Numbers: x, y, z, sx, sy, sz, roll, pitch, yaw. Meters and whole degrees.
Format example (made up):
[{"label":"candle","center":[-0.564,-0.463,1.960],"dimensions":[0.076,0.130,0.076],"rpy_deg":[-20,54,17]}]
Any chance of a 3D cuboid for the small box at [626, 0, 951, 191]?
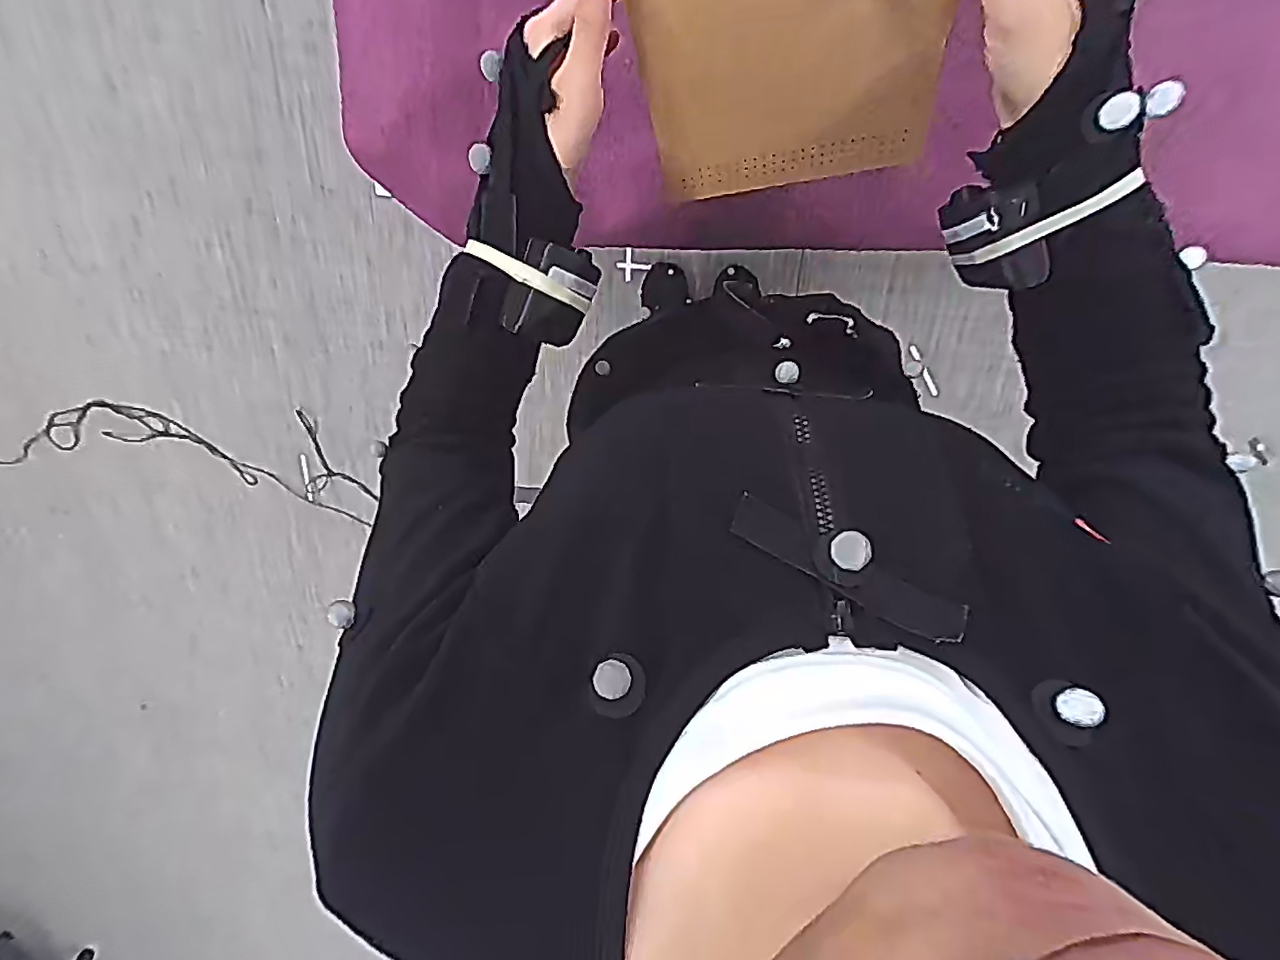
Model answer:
[{"label":"small box","center":[0.091,-0.321,0.343],"dimensions":[0.179,0.176,0.168],"rpy_deg":[-2,70,14]}]
